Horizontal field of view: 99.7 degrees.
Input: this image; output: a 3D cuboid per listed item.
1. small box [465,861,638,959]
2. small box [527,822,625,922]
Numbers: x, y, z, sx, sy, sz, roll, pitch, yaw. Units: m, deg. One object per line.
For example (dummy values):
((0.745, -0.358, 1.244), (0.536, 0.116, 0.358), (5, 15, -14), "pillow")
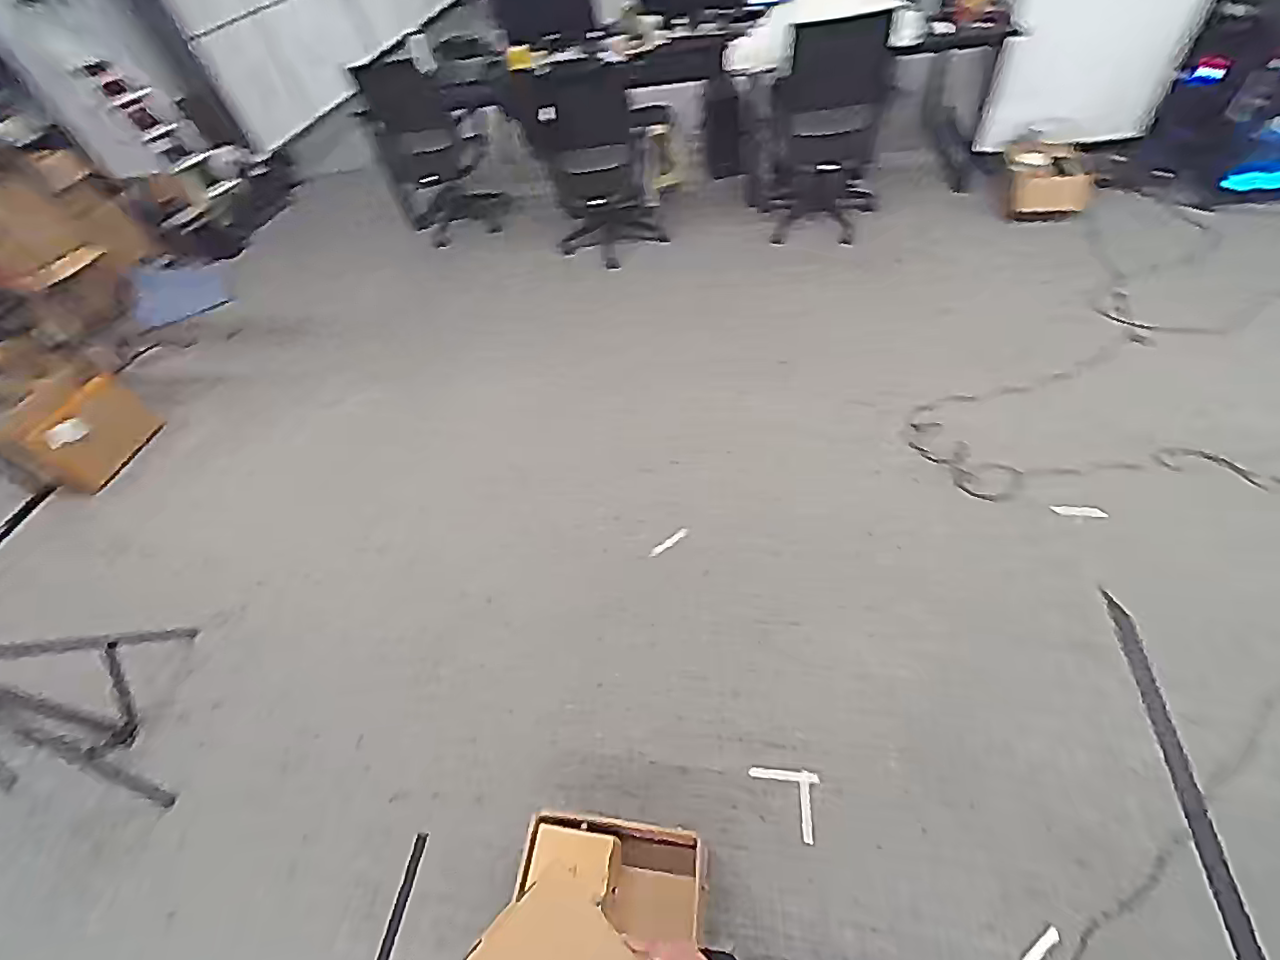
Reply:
((-0.084, 0.574, 0.581), (0.179, 0.176, 0.168), (28, 49, 36), "small box")
((-0.141, 0.899, 1.232), (0.179, 0.176, 0.168), (4, 53, 10), "small box")
